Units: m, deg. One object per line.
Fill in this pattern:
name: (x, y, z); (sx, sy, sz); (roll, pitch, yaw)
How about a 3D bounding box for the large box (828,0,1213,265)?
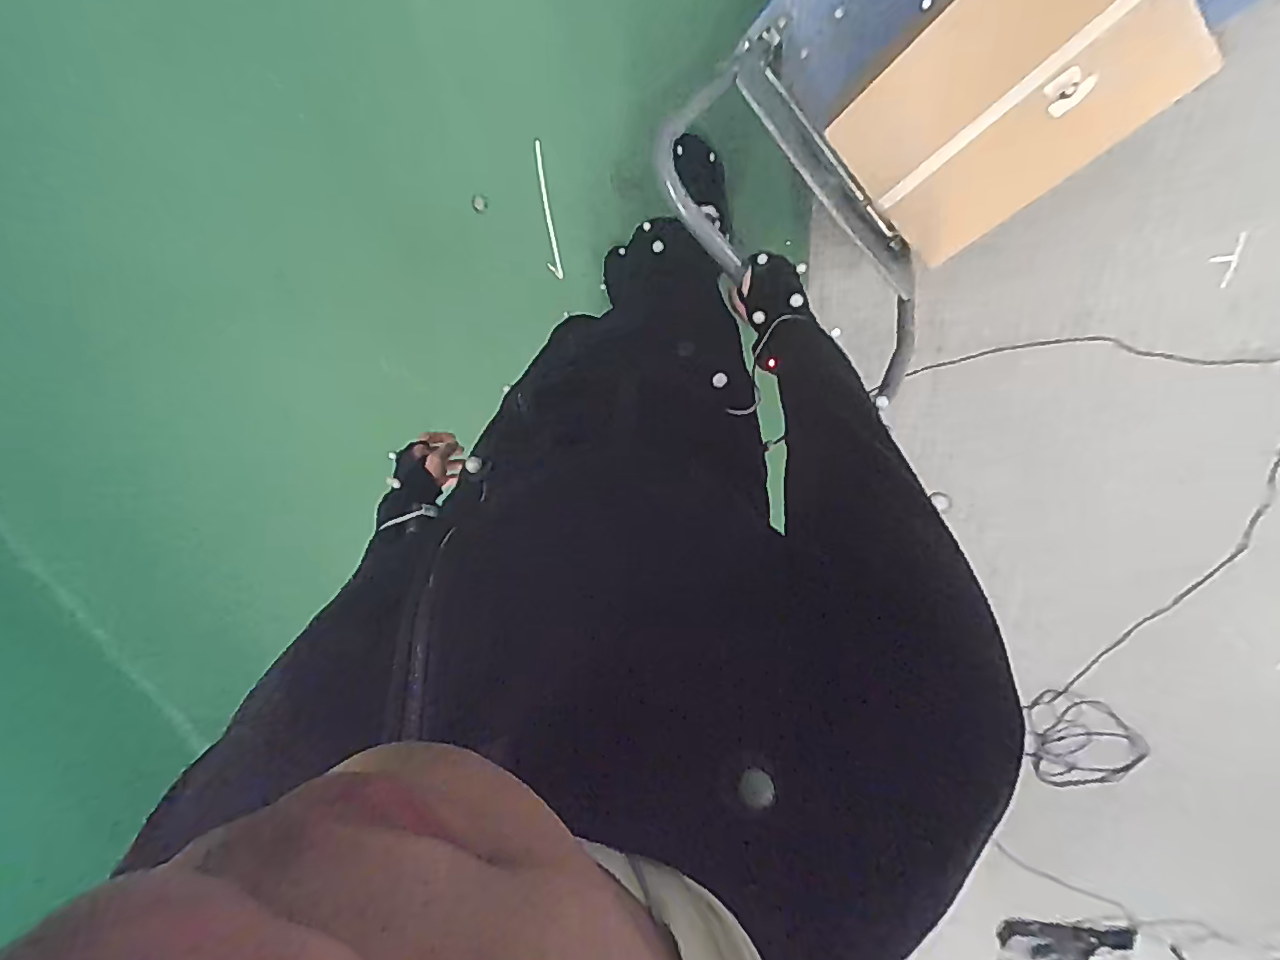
large box: (0.584, -0.665, 0.920); (0.320, 0.320, 0.408); (40, 132, -17)
